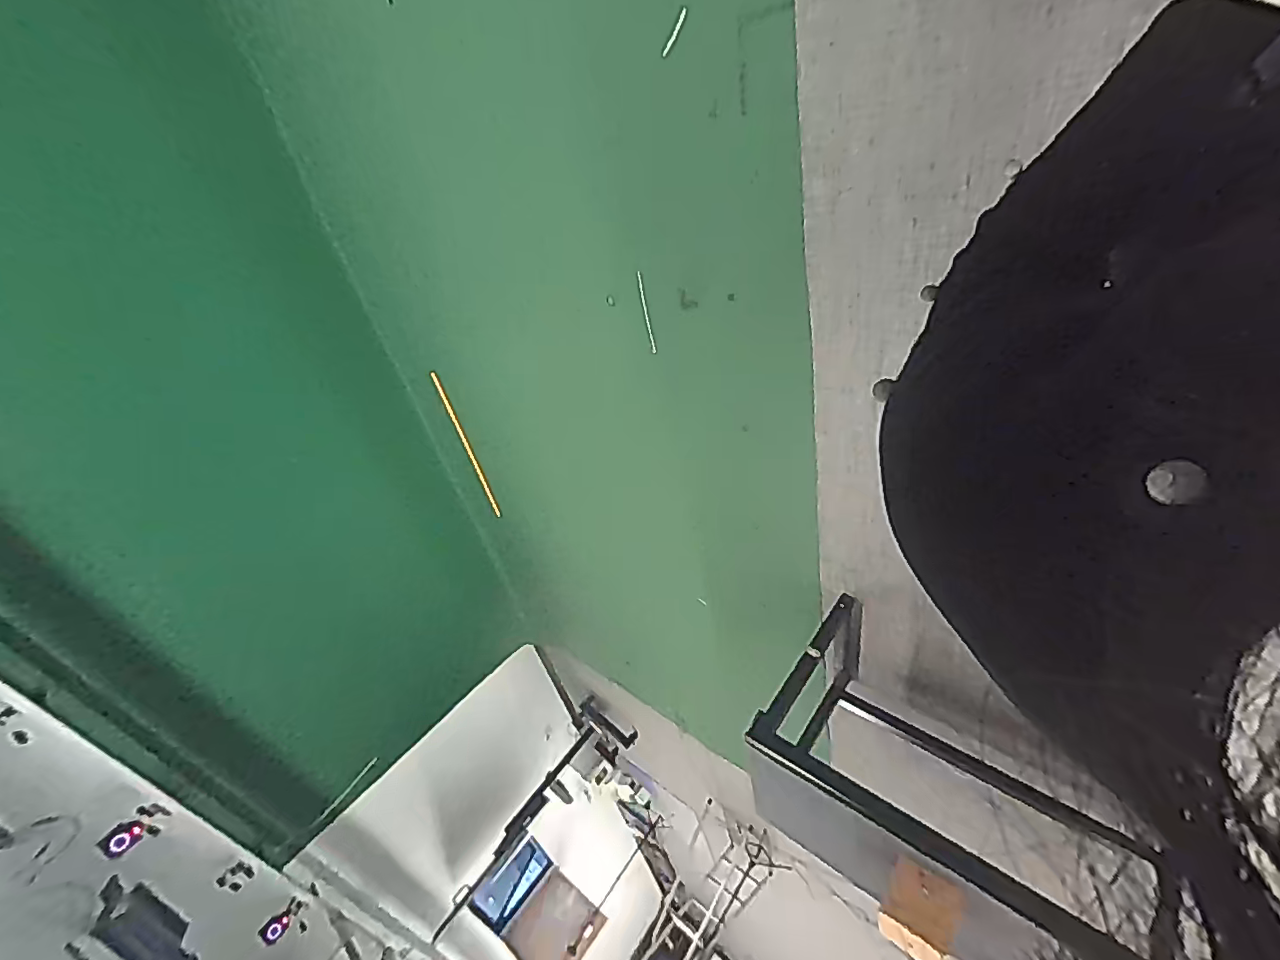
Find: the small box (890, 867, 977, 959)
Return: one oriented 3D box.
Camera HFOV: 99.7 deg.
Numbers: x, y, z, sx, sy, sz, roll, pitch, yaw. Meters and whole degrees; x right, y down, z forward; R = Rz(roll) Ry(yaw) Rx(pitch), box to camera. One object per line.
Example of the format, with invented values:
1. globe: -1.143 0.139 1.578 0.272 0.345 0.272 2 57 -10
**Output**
1. small box: 0.794 1.206 1.462 0.168 0.176 0.179 15 134 40
